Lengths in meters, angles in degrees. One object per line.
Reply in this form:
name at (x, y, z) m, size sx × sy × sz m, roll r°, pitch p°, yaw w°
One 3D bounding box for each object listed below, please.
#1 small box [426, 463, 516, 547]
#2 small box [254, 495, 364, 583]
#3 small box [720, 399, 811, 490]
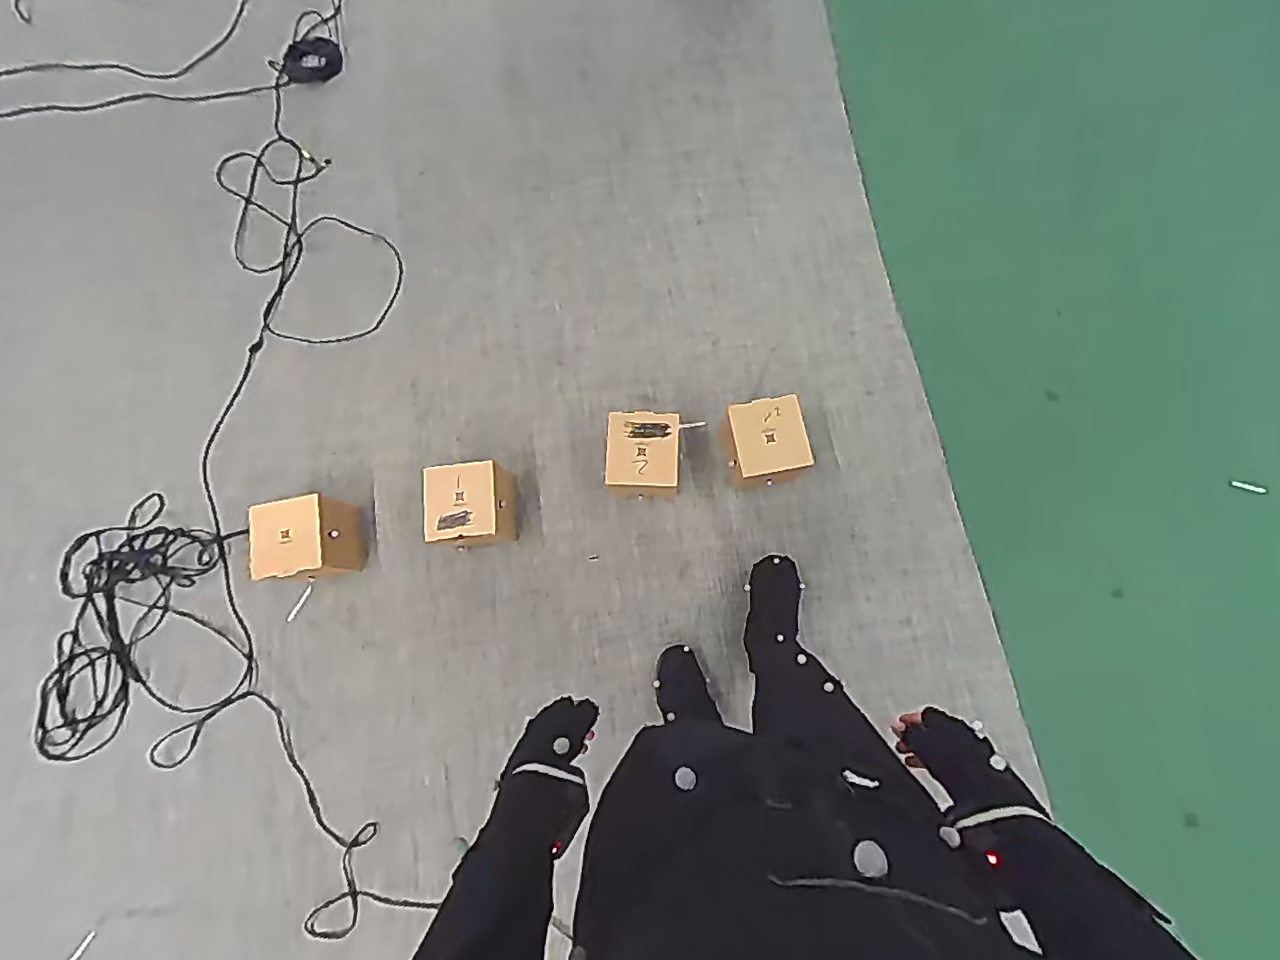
small box at (-0.405, 0.069, 1.315) m, size 0.168 × 0.176 × 0.179 m, roll -6°, pitch 77°, yaw 2°
small box at (-0.800, 0.150, 1.319) m, size 0.168 × 0.176 × 0.179 m, roll -11°, pitch 78°, yaw 1°
small box at (0.299, -0.077, 1.316) m, size 0.168 × 0.176 × 0.179 m, roll -10°, pitch 78°, yaw -1°
